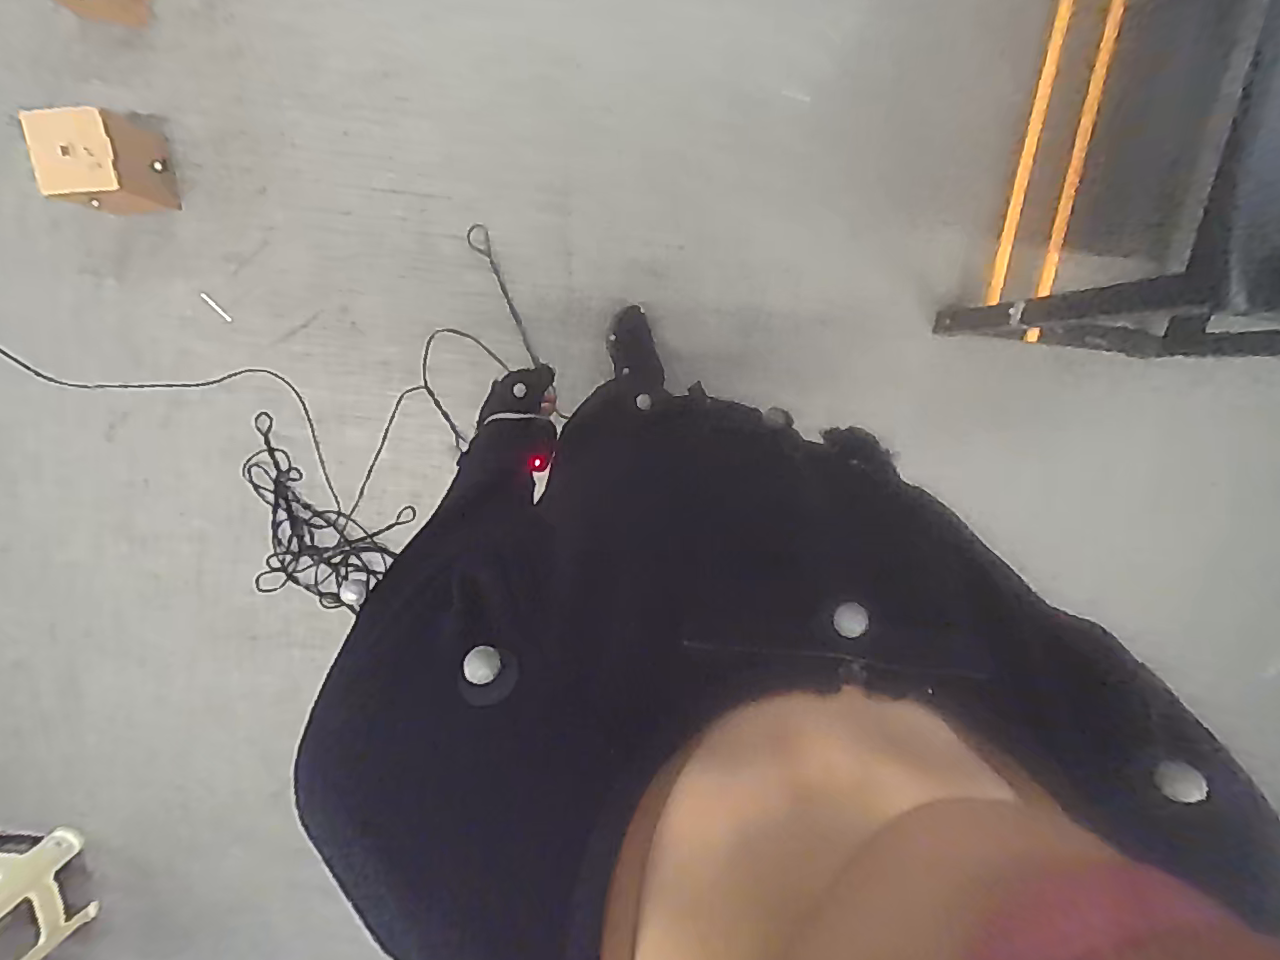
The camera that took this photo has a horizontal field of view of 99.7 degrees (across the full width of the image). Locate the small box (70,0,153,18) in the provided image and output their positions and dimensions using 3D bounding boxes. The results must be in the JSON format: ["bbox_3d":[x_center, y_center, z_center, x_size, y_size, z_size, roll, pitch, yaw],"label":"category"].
[{"bbox_3d":[-1.193,-1.131,1.146,0.179,0.176,0.168,8,103,-2],"label":"small box"}]

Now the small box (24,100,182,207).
[{"bbox_3d":[-1.212,-0.735,1.234,0.179,0.176,0.168,-4,103,1],"label":"small box"}]
